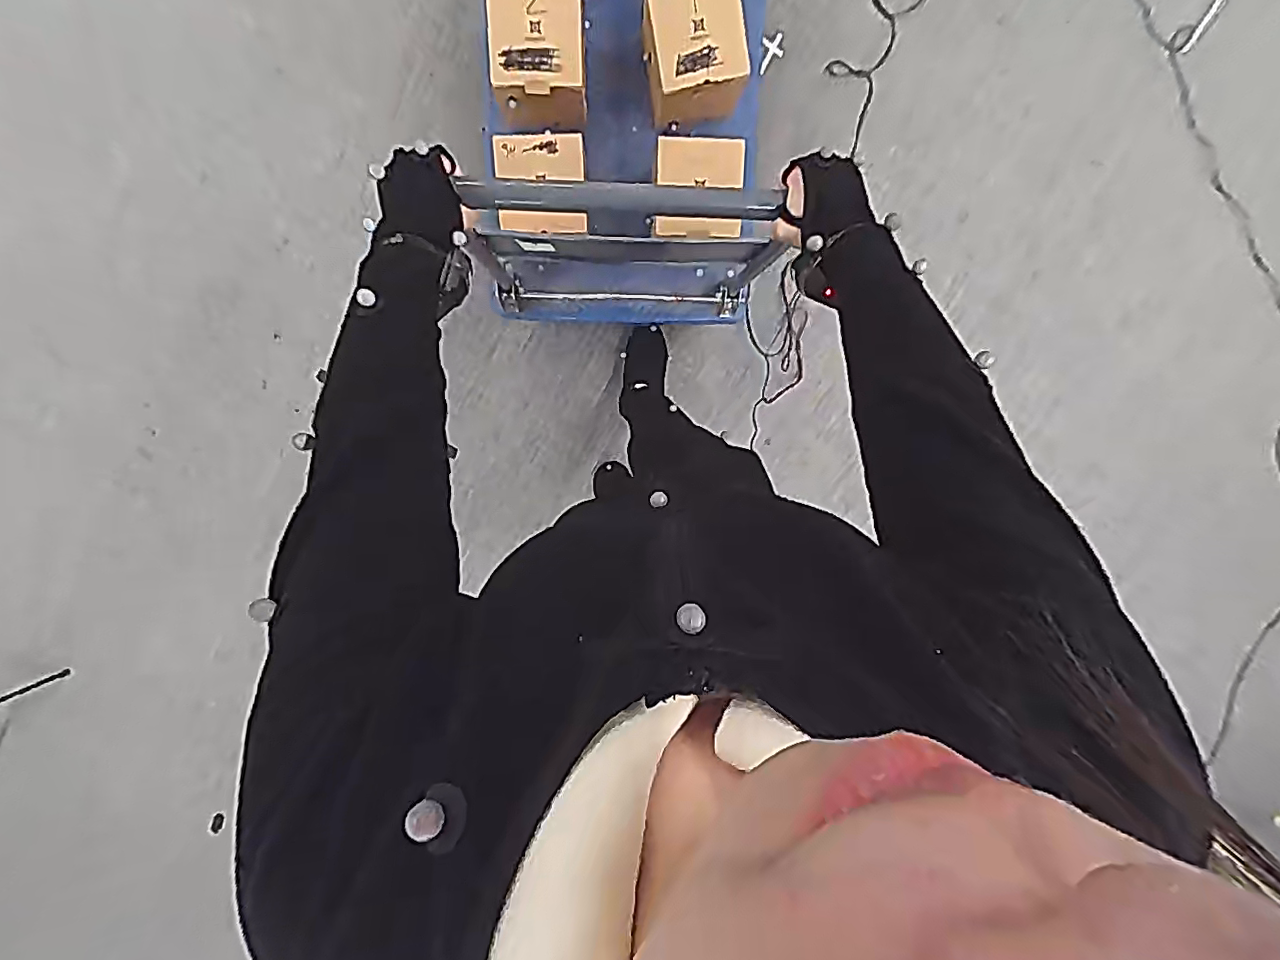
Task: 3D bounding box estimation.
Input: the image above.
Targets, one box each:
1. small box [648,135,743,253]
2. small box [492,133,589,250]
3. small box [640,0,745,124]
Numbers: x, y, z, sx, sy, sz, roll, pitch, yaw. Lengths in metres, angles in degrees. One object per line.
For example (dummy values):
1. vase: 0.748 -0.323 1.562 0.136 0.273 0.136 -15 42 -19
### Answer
1. small box: 0.106 -0.571 1.102 0.168 0.176 0.179 1 101 -4
2. small box: -0.192 -0.567 1.086 0.168 0.176 0.179 -3 102 -3
3. small box: 0.097 -0.823 1.048 0.168 0.176 0.179 -11 101 0
